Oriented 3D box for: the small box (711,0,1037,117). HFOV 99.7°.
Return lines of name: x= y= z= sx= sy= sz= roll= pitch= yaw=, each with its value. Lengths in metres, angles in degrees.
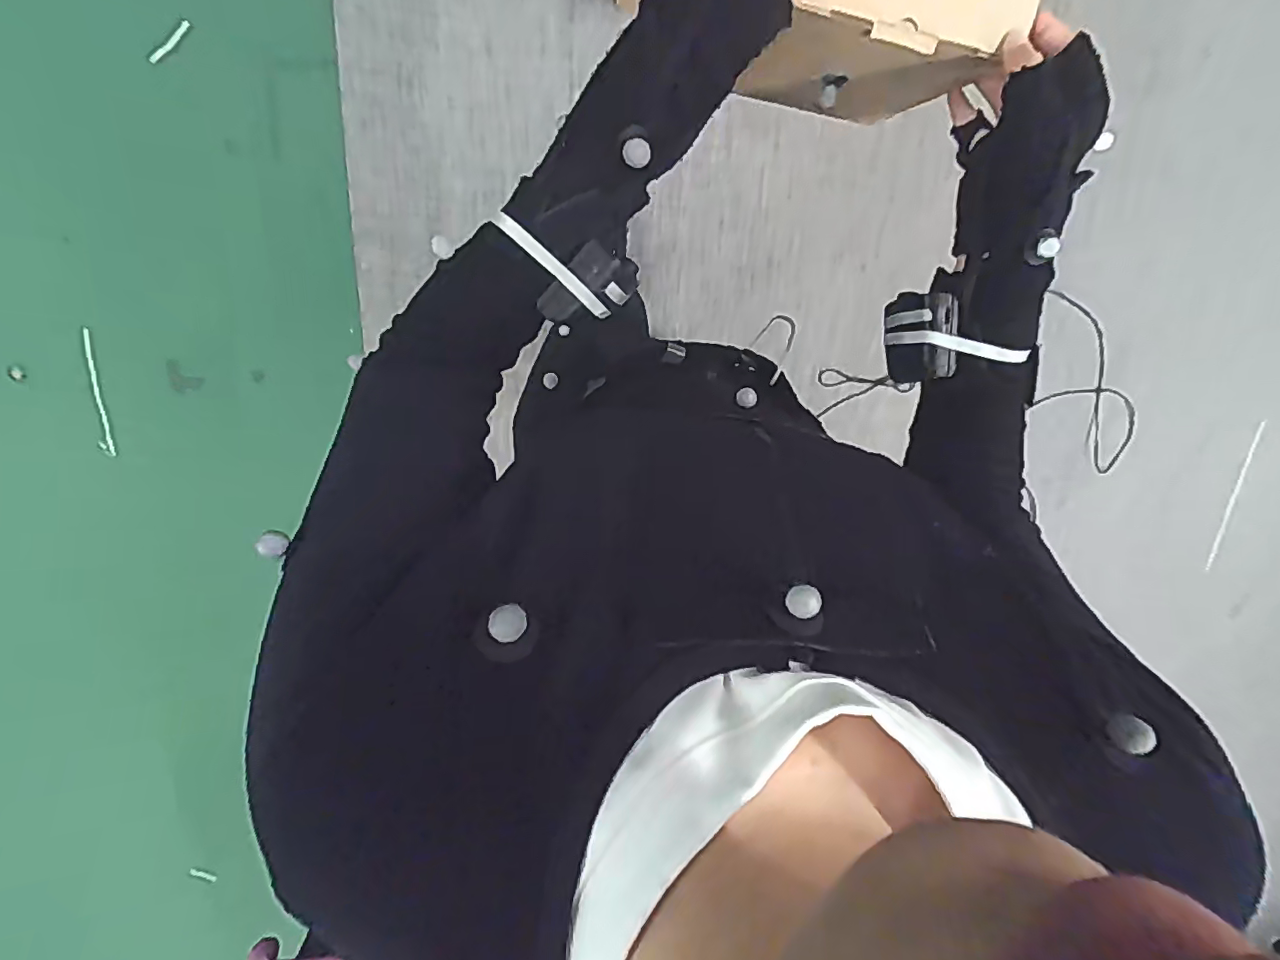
small box: x=0.157 y=-0.376 z=0.369 sx=0.168 sy=0.176 sz=0.179 roll=4 pitch=111 yaw=-12
